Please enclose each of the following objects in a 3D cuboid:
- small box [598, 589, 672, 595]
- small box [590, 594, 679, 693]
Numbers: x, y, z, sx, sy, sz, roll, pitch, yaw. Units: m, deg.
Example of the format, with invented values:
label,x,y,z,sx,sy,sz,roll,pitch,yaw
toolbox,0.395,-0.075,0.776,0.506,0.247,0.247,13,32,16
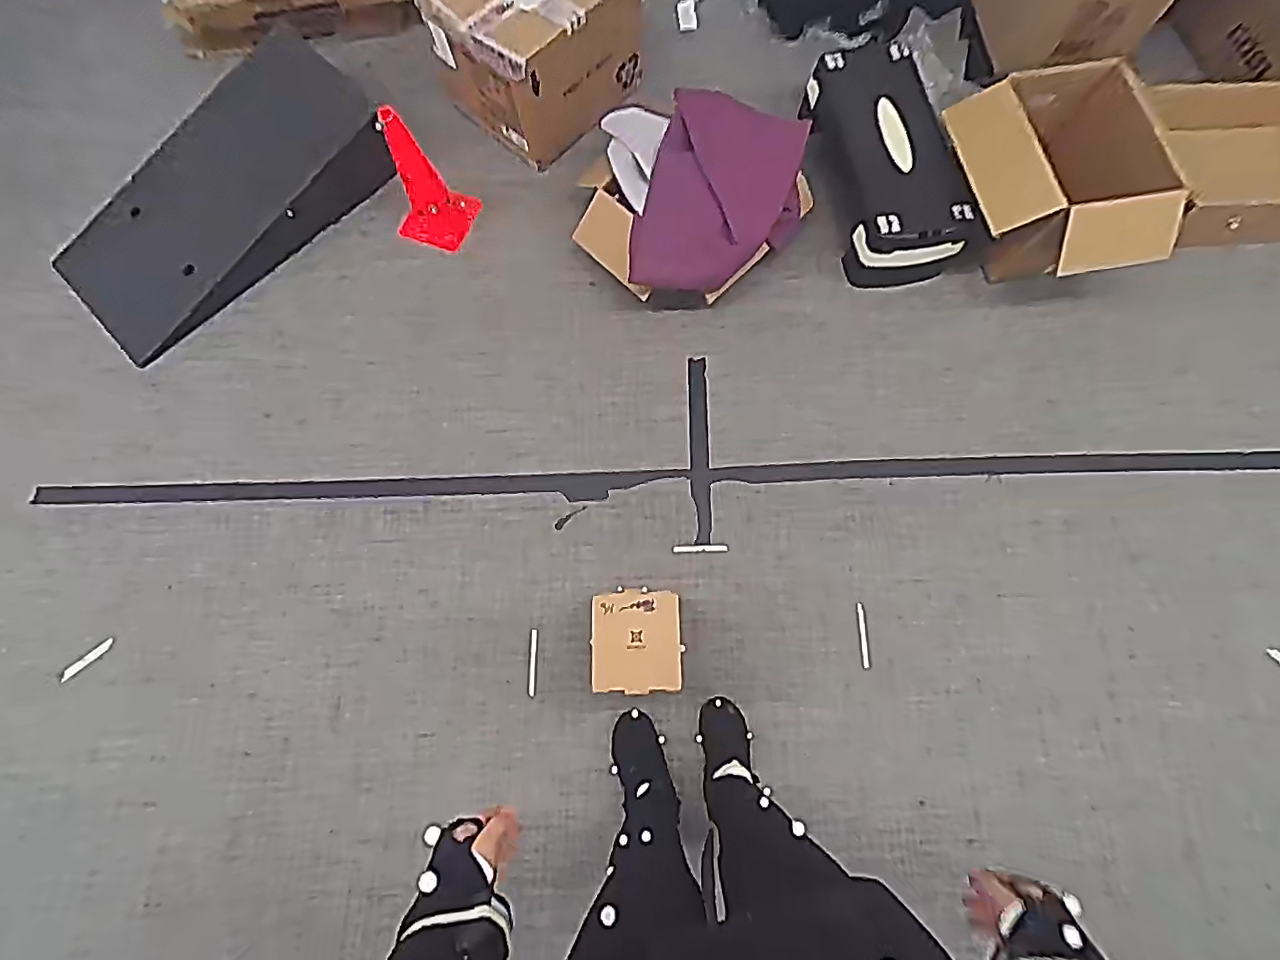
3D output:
label,x,y,z,sx,sy,sz,roll,pitch,yaw
small box,-0.008,0.345,1.237,0.168,0.176,0.179,-3,76,1
small box,-0.007,0.319,1.074,0.168,0.176,0.179,-1,75,1
